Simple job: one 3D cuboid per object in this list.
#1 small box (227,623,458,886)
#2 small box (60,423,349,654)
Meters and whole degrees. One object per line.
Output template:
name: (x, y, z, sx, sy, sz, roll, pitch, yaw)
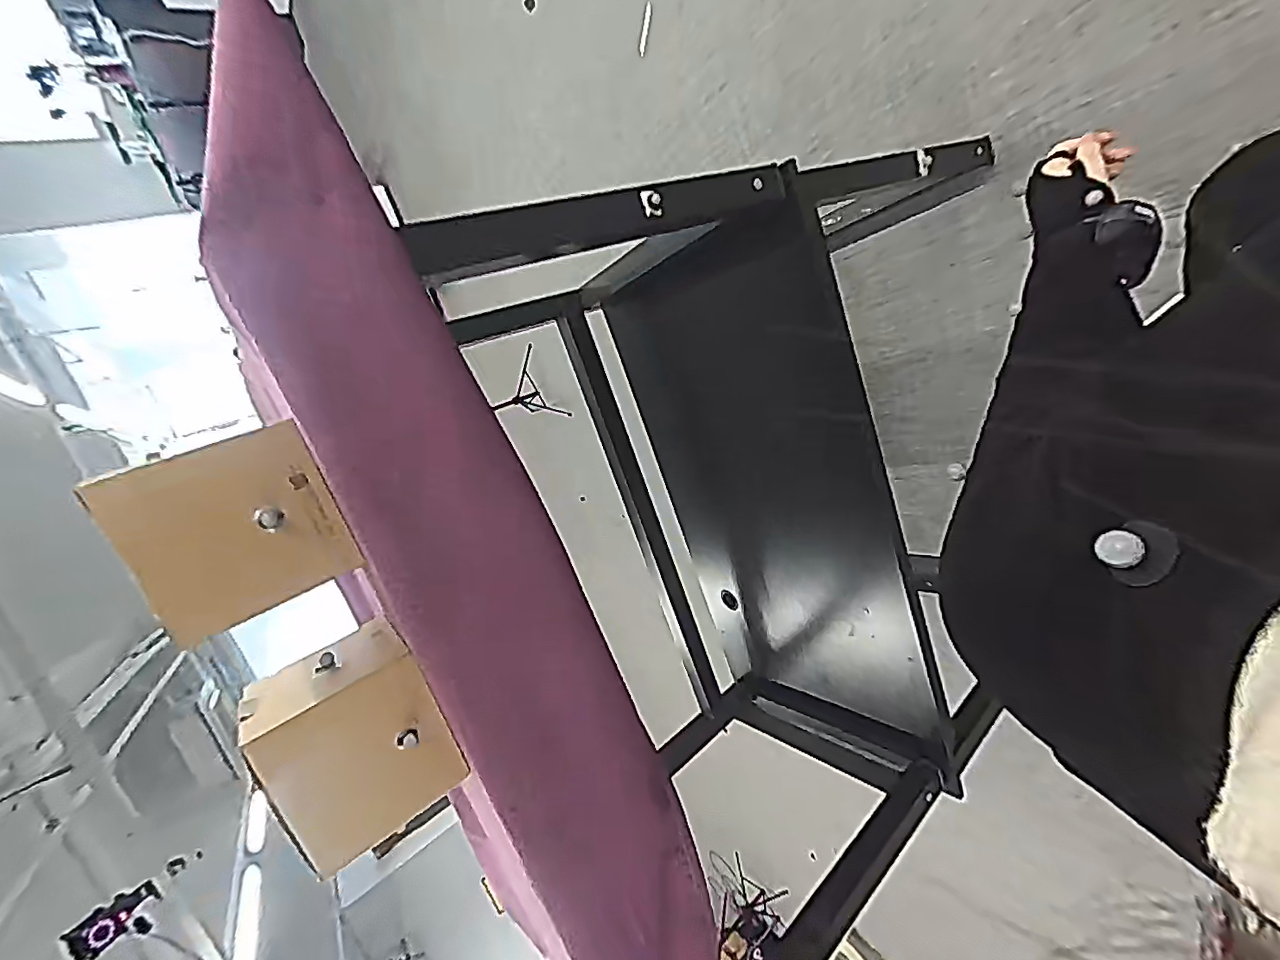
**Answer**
small box: (-0.338, 0.293, 0.624, 0.168, 0.176, 0.179, 4, 116, 56)
small box: (-0.432, 0.046, 0.571, 0.179, 0.176, 0.168, 3, 117, 55)
